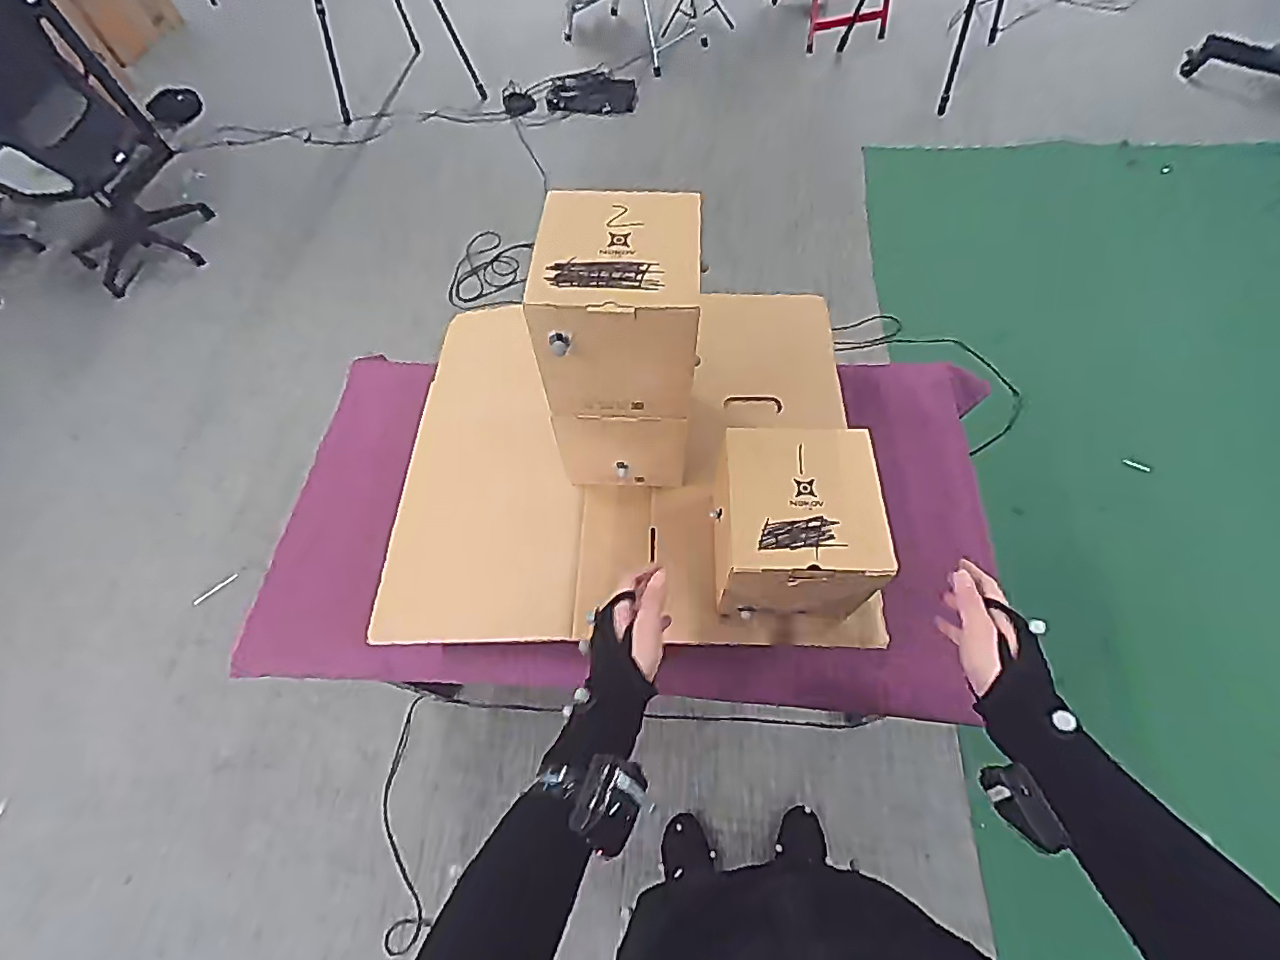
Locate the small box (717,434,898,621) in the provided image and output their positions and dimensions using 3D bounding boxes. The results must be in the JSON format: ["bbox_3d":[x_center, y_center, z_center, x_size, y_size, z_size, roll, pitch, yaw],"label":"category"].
[{"bbox_3d":[0.182,0.063,0.647,0.168,0.176,0.179,1,60,3],"label":"small box"}]

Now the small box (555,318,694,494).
[{"bbox_3d":[-0.014,-0.099,0.745,0.168,0.176,0.179,2,61,3],"label":"small box"}]
